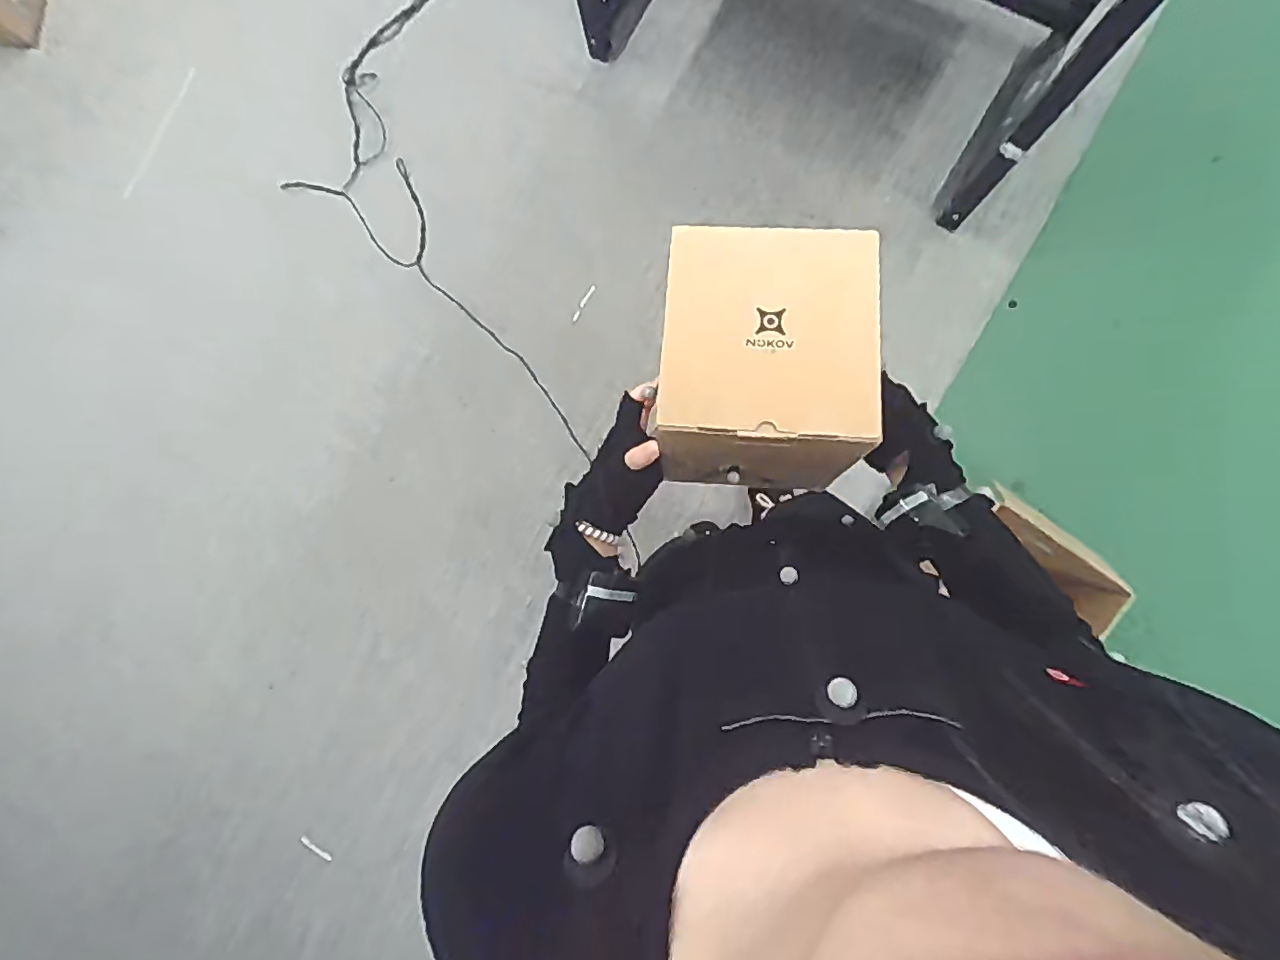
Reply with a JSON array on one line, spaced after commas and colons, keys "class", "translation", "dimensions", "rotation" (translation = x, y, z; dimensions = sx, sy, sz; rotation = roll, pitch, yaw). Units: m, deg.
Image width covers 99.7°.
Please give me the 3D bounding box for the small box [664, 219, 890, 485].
[{"class": "small box", "translation": [0.109, -0.102, 0.488], "dimensions": [0.168, 0.176, 0.179], "rotation": [4, 78, 4]}]
